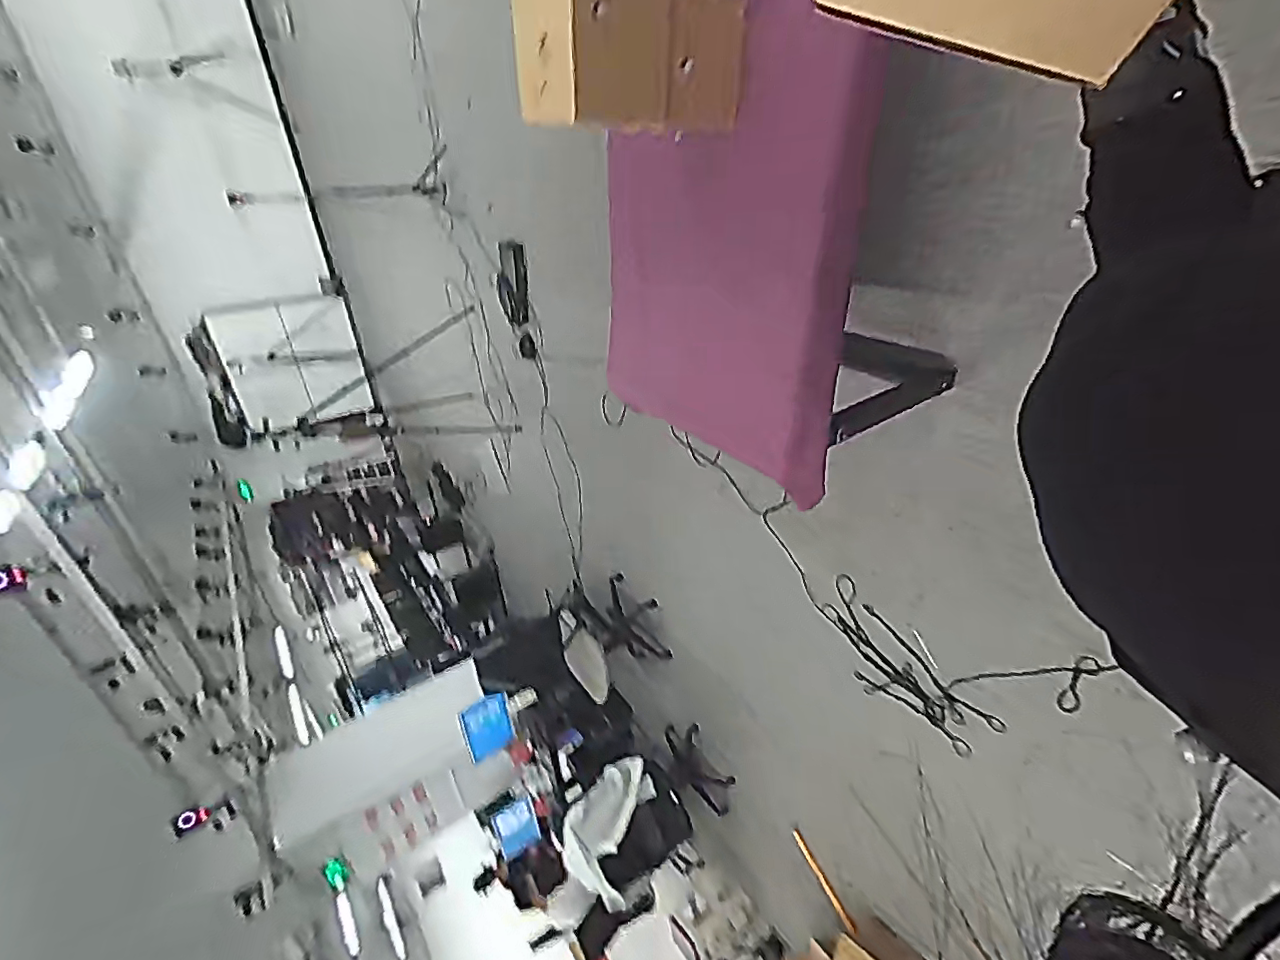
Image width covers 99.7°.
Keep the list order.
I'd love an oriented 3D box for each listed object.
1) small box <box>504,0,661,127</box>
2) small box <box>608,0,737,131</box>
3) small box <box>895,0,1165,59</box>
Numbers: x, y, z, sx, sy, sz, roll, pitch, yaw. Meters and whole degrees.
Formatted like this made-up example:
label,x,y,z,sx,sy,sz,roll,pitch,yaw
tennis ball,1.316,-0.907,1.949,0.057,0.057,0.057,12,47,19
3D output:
label,x,y,z,sx,sy,sz,roll,pitch,yaw
small box,-0.083,-0.637,0.809,0.168,0.176,0.179,37,138,40
small box,0.042,-0.691,0.902,0.168,0.176,0.179,36,137,40
small box,0.215,-0.357,0.250,0.179,0.168,0.176,23,164,8
